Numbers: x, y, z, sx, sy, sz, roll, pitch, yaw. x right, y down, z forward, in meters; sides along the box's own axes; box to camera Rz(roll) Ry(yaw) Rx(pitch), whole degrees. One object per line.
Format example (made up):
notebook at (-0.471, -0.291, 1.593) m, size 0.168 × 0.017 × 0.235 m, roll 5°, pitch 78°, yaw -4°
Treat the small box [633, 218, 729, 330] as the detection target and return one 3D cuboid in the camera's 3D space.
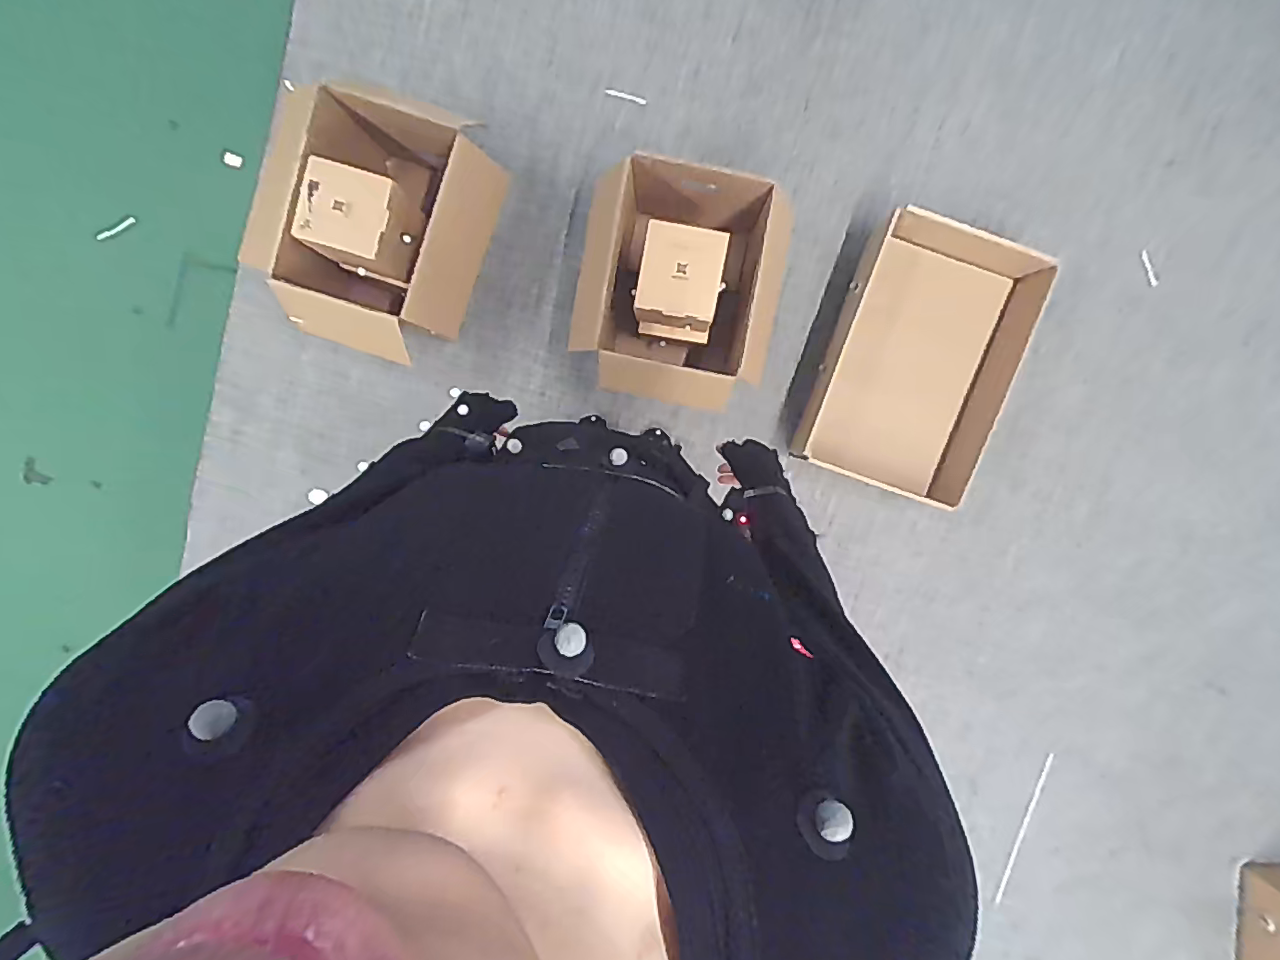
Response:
small box at (0.084, -0.430, 1.158) m, size 0.168 × 0.176 × 0.179 m, roll 11°, pitch 97°, yaw -1°
